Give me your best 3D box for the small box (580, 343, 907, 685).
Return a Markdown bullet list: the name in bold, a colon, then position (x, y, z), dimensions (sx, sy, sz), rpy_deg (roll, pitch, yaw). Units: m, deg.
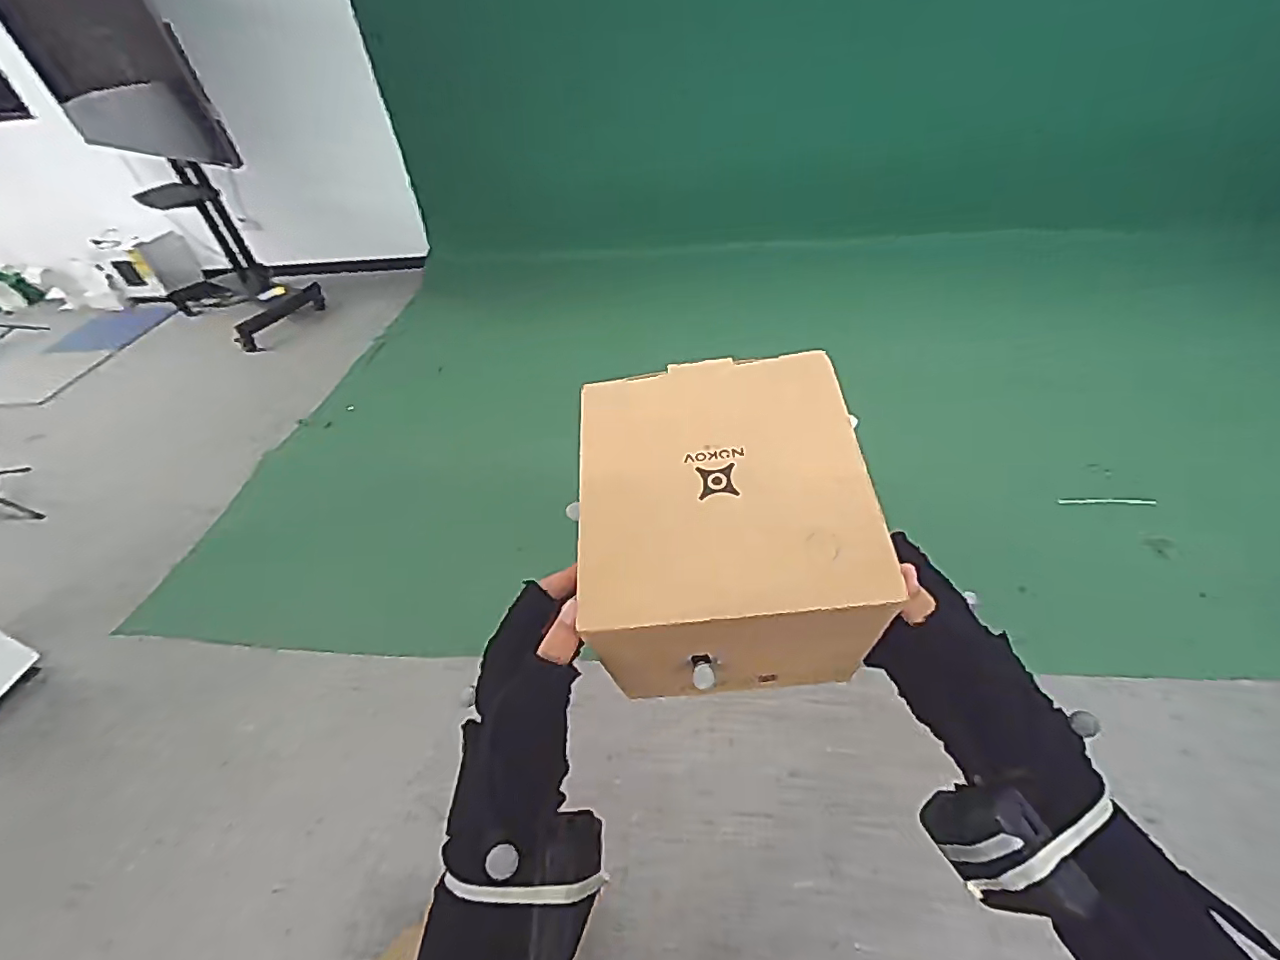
- **small box**: position (0.060, 0.036, 0.378), dimensions (0.168, 0.176, 0.179), rpy_deg (-7, 55, 6)
